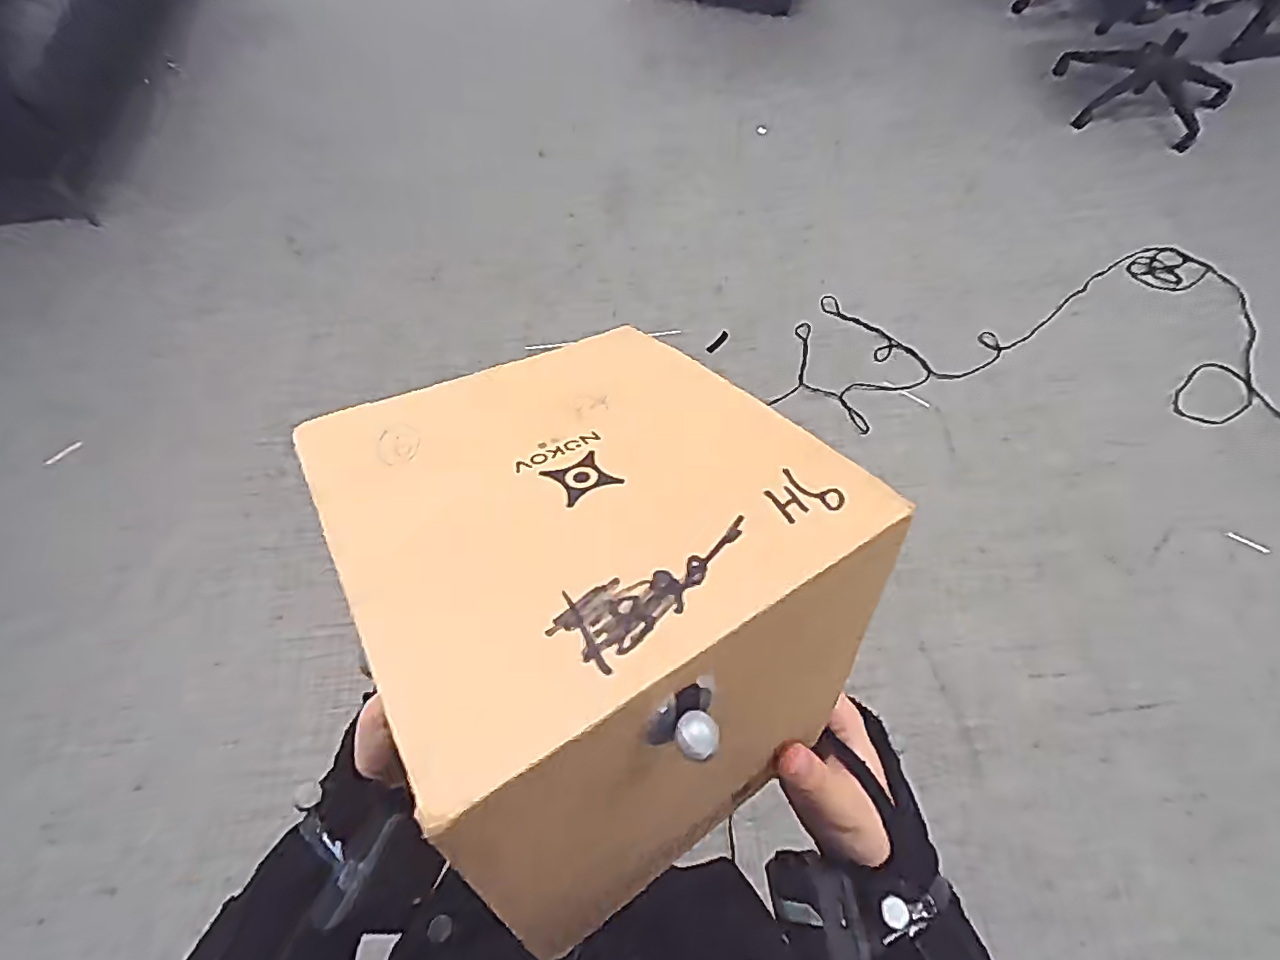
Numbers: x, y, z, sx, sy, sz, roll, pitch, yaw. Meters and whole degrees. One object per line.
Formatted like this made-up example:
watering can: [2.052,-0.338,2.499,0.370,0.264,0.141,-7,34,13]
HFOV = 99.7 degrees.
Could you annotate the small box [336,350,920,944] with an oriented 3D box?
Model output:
small box: [-0.014,0.064,0.260,0.168,0.176,0.179,-26,45,-24]
